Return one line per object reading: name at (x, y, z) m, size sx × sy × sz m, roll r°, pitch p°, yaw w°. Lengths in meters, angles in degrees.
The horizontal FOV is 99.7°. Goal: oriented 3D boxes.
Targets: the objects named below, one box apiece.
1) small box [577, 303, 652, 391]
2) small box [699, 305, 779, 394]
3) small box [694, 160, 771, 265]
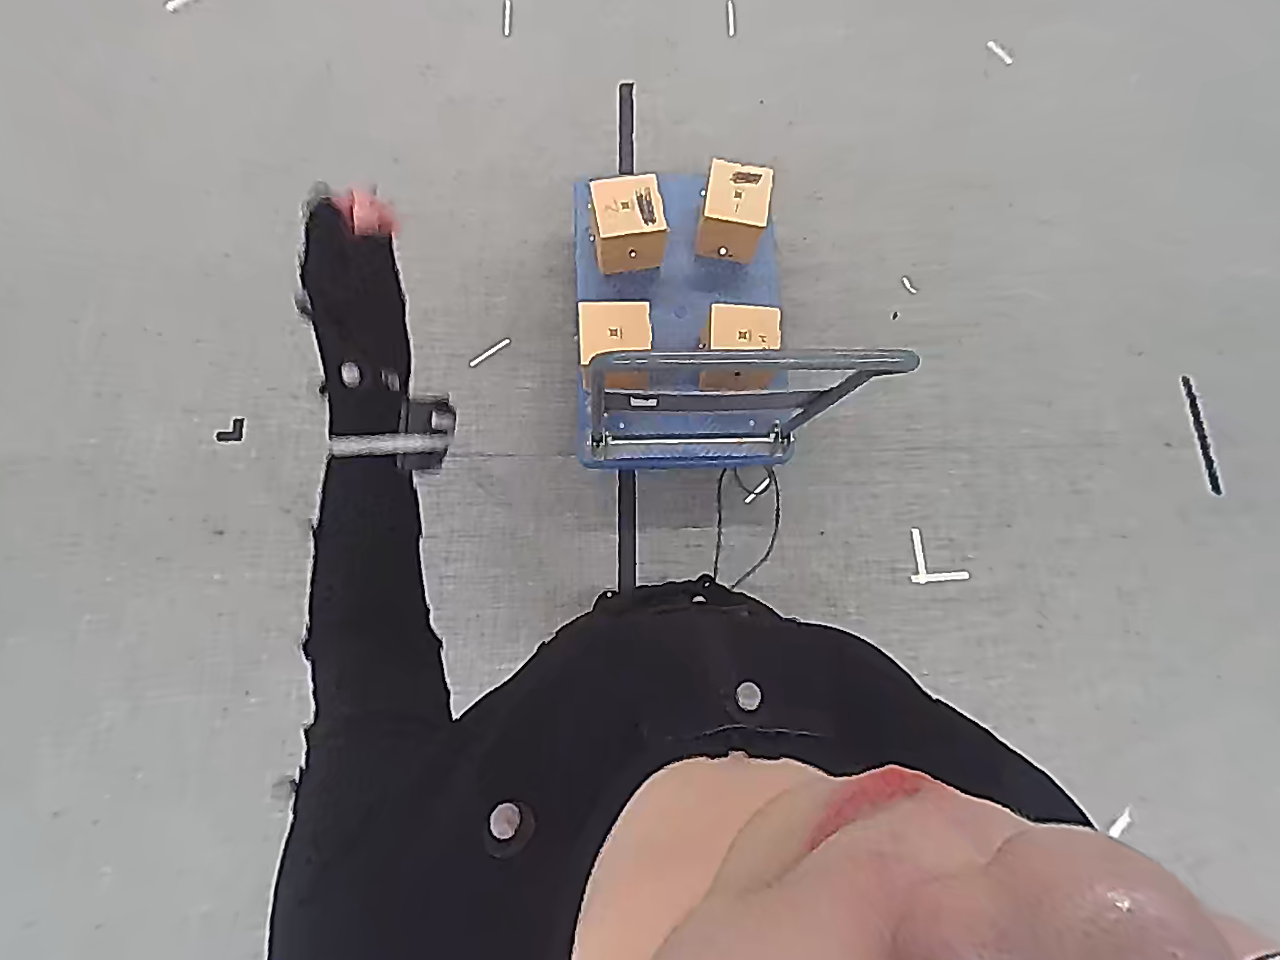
small box at (-0.067, -0.333, 1.379) m, size 0.179 × 0.176 × 0.168 m, roll -3°, pitch 78°, yaw -6°
small box at (0.251, -0.331, 1.399) m, size 0.179 × 0.176 × 0.168 m, roll 4°, pitch 79°, yaw -3°
small box at (0.248, -0.725, 1.479) m, size 0.168 × 0.176 × 0.179 m, roll 9°, pitch 79°, yaw -2°
